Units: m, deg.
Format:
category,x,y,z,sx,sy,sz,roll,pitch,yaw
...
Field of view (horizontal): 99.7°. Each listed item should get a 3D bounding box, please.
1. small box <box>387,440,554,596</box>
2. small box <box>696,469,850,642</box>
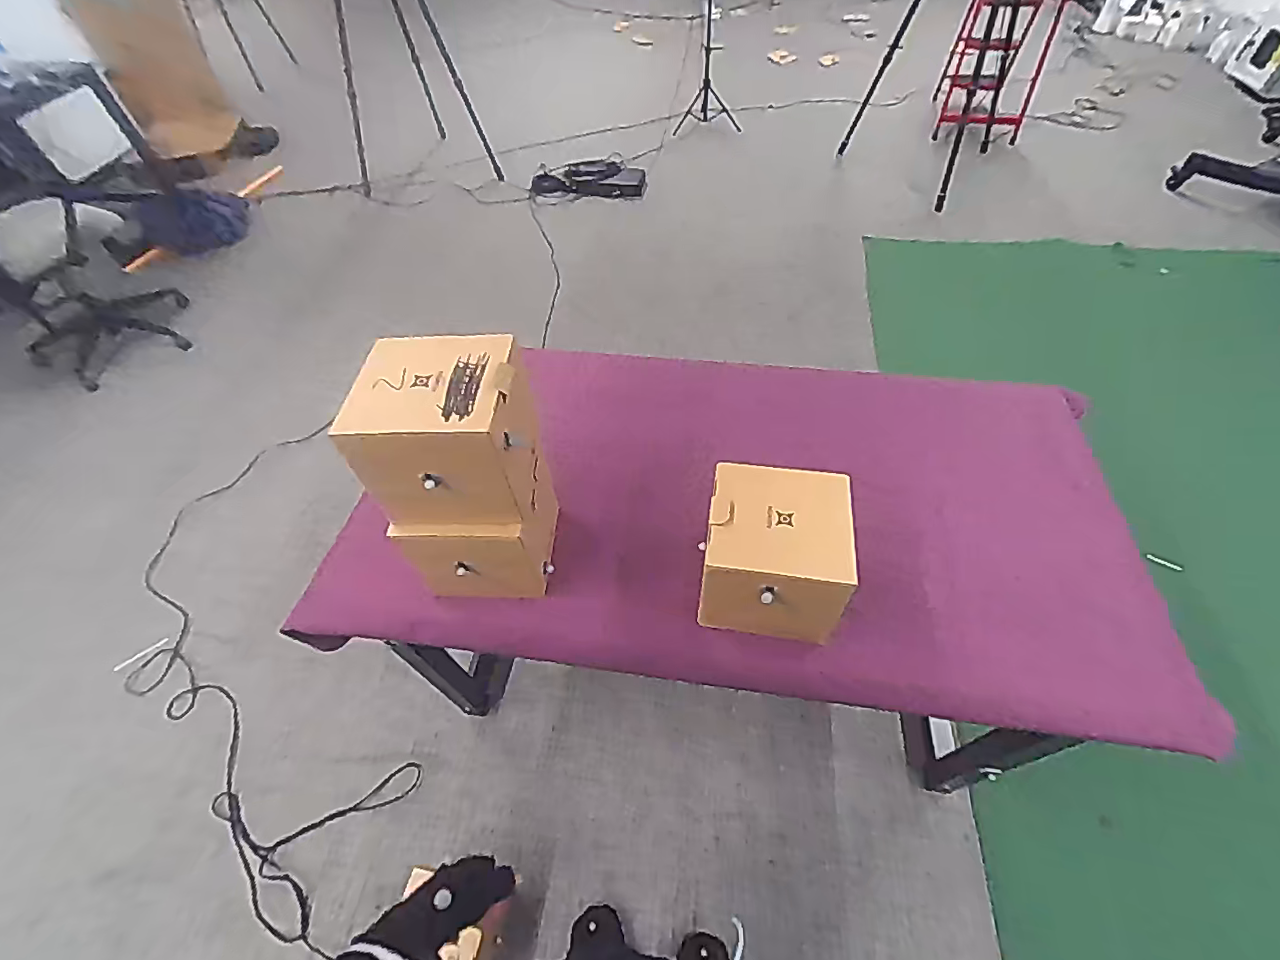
category,x,y,z,sx,sy,sz,roll,pitch,yaw
small box,-0.230,0.059,0.792,0.179,0.176,0.168,1,51,3
small box,0.175,0.108,0.744,0.179,0.176,0.168,7,52,9
